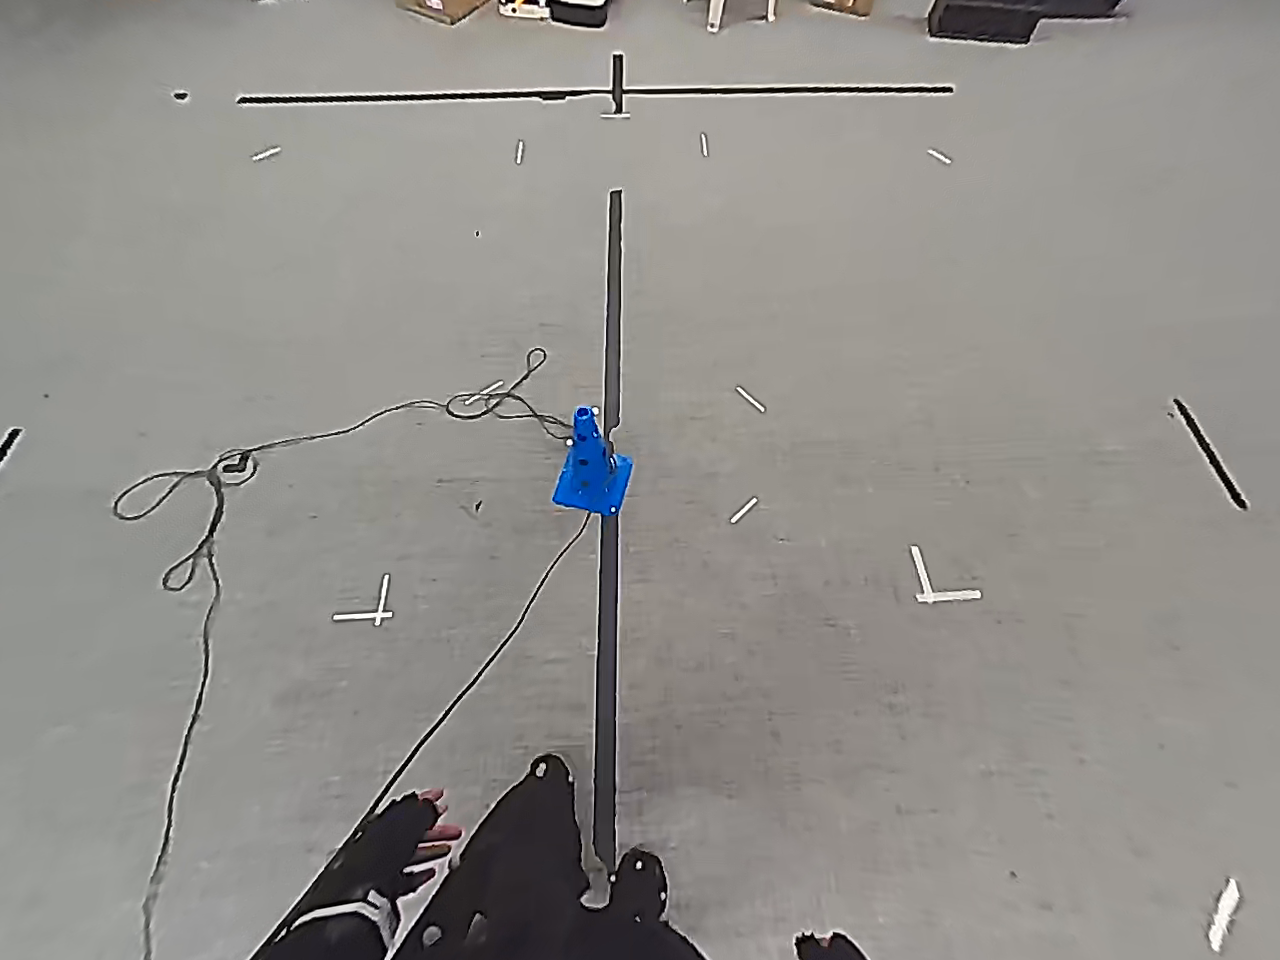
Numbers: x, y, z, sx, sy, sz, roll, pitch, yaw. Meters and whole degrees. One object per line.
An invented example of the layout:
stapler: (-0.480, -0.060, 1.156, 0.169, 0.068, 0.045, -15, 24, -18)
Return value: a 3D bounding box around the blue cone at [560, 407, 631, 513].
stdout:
blue cone: (-0.129, -0.076, 1.458, 0.192, 0.380, 0.193, 14, 63, 6)
